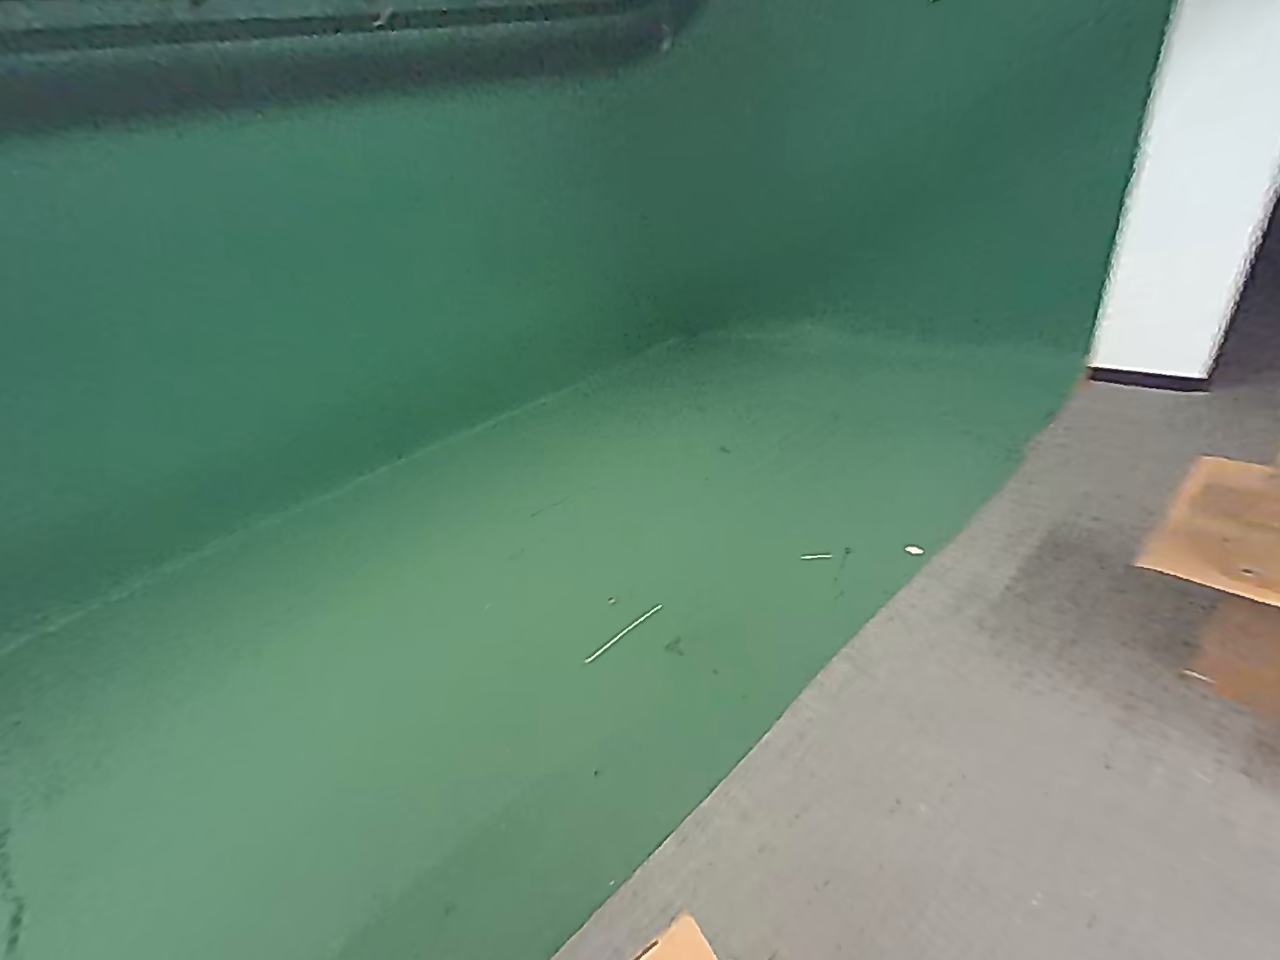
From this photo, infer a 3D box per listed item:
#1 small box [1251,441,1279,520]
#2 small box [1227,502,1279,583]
[{"bbox_3d":[1.394,-0.006,1.086,0.168,0.176,0.179,-32,36,-26],"label":"small box"},{"bbox_3d":[1.438,0.120,1.181,0.179,0.176,0.168,-31,35,-28],"label":"small box"}]
